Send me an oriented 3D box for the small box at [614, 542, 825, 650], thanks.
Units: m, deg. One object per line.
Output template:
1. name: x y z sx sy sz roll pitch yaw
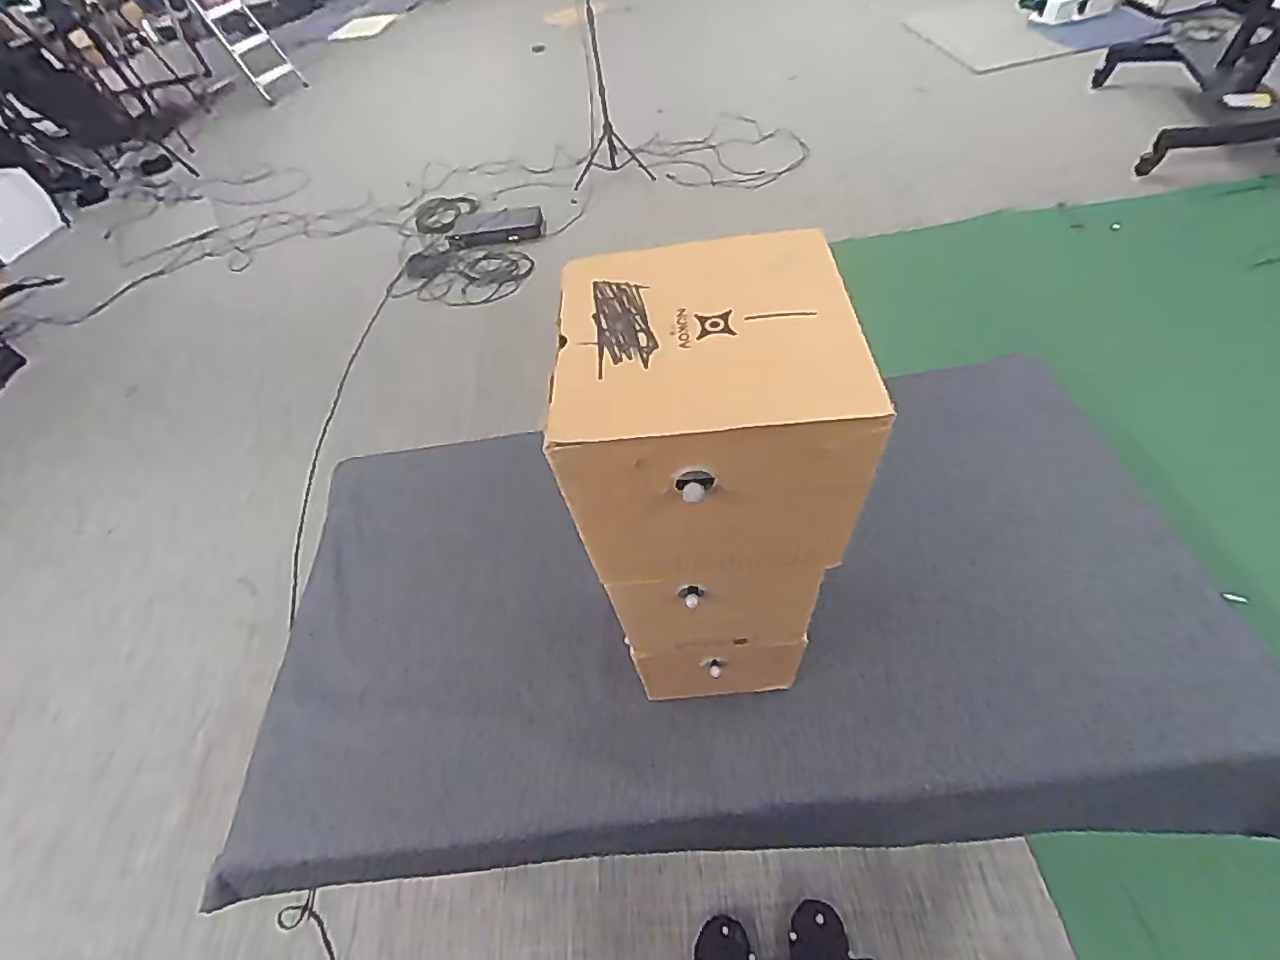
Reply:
1. small box: 0.063 0.047 0.527 0.168 0.176 0.179 -7 54 3

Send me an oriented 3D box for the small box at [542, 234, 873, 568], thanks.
1. small box: 0.043 -0.046 0.390 0.179 0.176 0.168 -5 55 5

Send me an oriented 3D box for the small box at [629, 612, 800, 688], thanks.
1. small box: 0.082 0.143 0.655 0.179 0.176 0.168 -6 54 3
